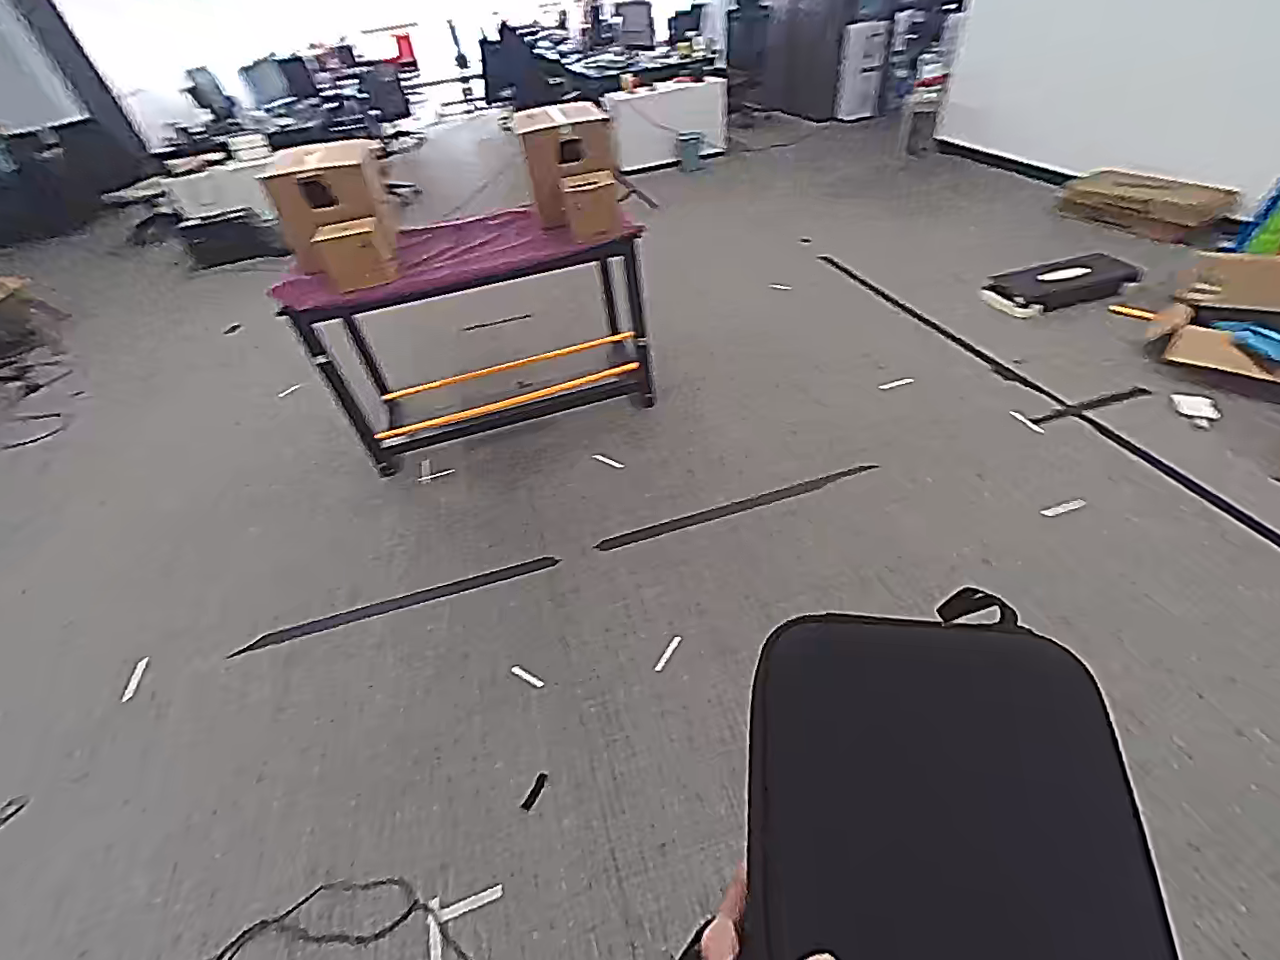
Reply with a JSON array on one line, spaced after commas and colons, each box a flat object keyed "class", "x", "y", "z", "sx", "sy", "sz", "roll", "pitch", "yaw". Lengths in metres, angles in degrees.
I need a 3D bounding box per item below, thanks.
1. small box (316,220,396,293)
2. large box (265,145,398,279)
[{"class": "small box", "x": -0.923, "y": -0.730, "z": 1.772, "sx": 0.179, "sy": 0.176, "sz": 0.168, "roll": -17, "pitch": 42, "yaw": -10}, {"class": "large box", "x": -1.085, "y": -0.977, "z": 1.957, "sx": 0.320, "sy": 0.320, "sz": 0.408, "roll": -16, "pitch": 46, "yaw": -10}]
